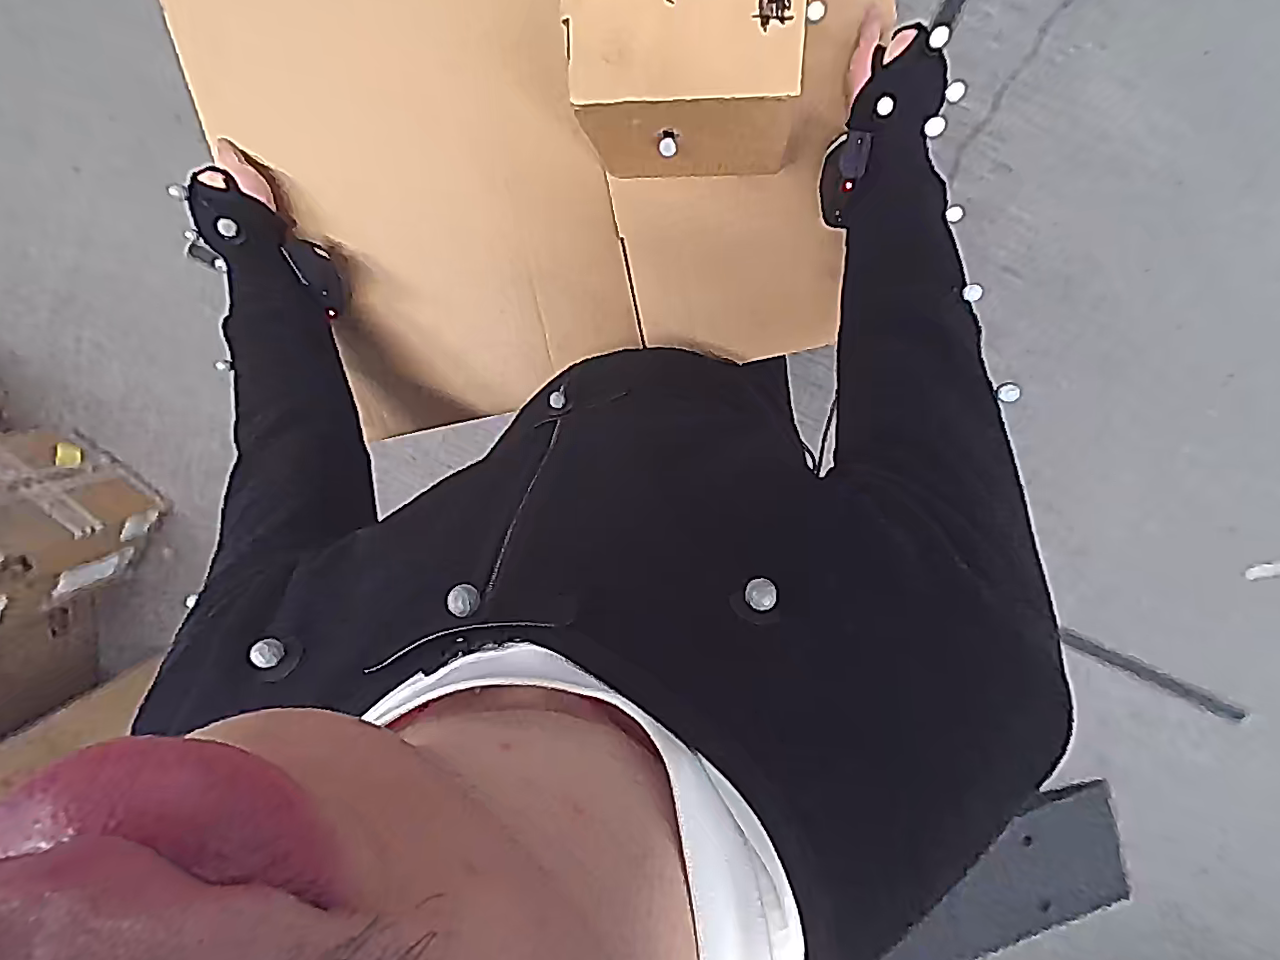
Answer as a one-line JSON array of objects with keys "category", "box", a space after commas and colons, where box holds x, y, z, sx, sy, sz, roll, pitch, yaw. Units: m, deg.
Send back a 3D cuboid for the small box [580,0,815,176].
[{"category": "small box", "box": [0.055, -0.381, 0.472, 0.179, 0.176, 0.168, 4, 103, 9]}]
